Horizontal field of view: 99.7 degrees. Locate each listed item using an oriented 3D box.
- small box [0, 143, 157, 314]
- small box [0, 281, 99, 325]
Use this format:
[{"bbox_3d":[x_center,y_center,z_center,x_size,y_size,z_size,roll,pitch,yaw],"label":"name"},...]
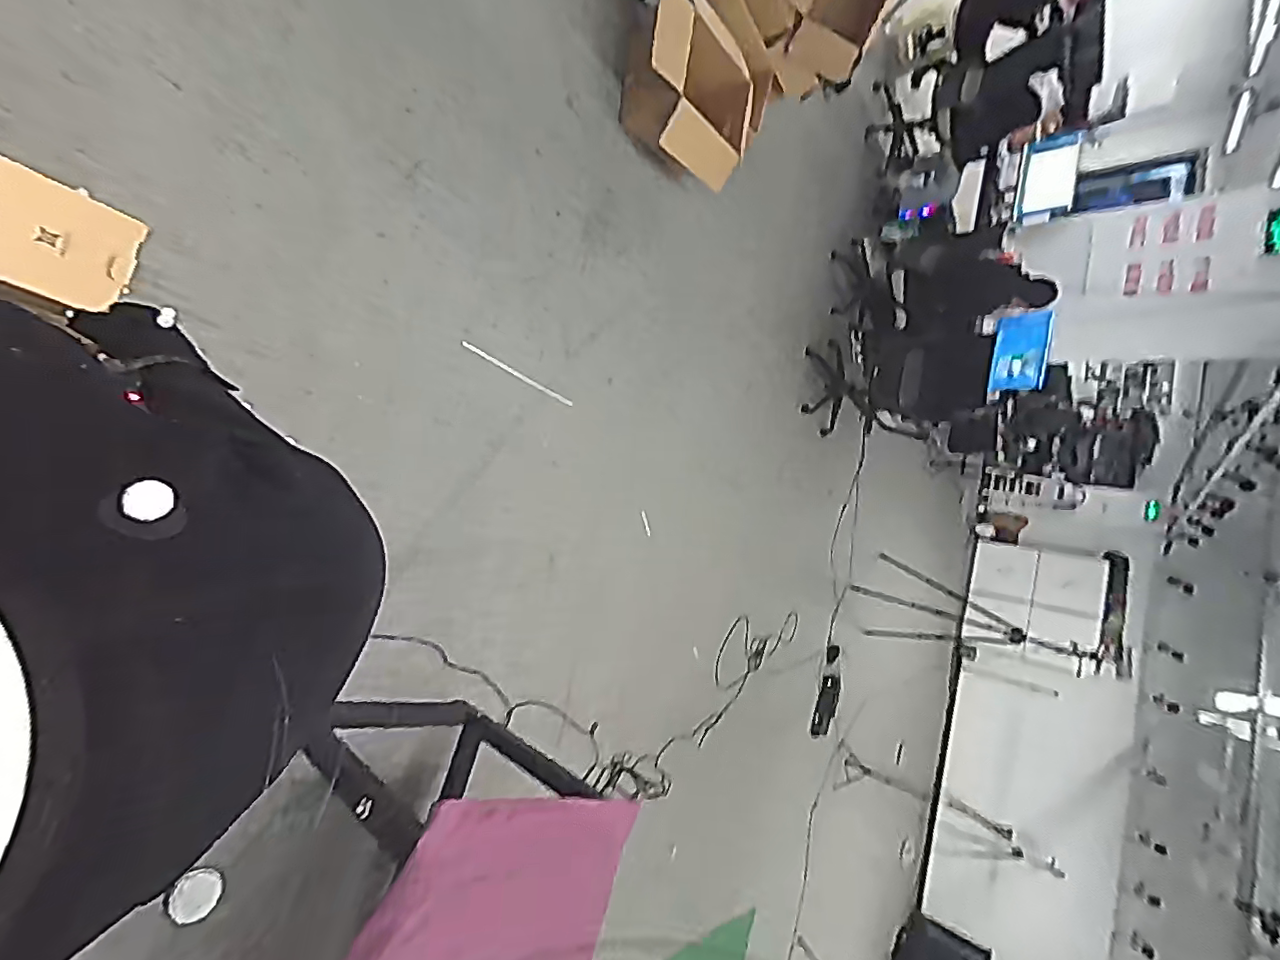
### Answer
[{"bbox_3d":[-0.906,-0.372,0.841,0.179,0.176,0.168,23,80,-50],"label":"small box"},{"bbox_3d":[-1.035,-0.389,0.942,0.168,0.176,0.179,24,79,-49],"label":"small box"}]
